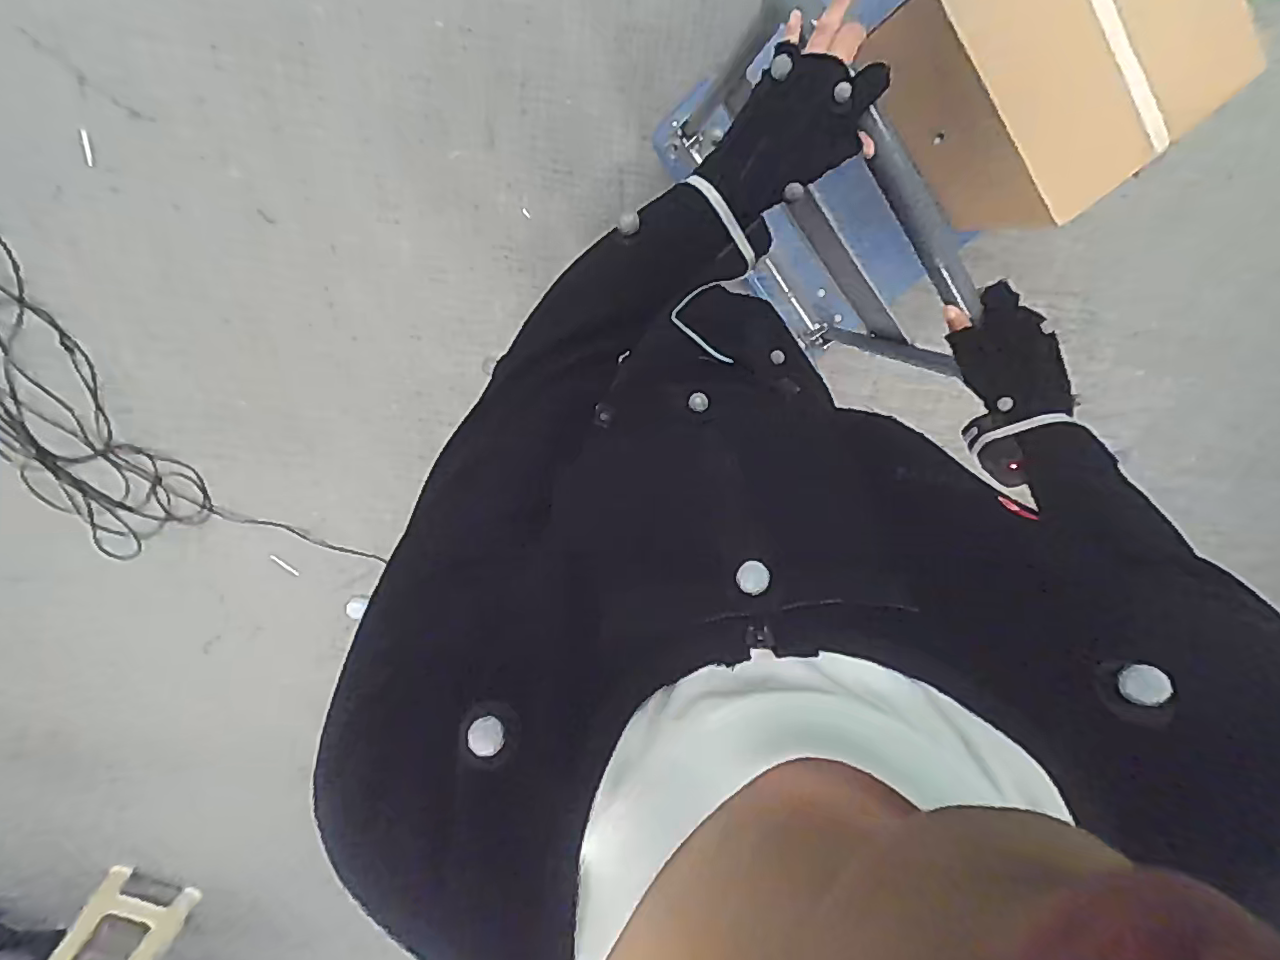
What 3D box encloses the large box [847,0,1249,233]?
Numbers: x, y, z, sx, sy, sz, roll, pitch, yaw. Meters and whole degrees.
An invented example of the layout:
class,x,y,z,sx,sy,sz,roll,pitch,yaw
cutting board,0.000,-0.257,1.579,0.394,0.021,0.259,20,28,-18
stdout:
class,x,y,z,sx,sy,sz,roll,pitch,yaw
large box,0.621,-0.675,0.886,0.320,0.320,0.408,-39,107,15
